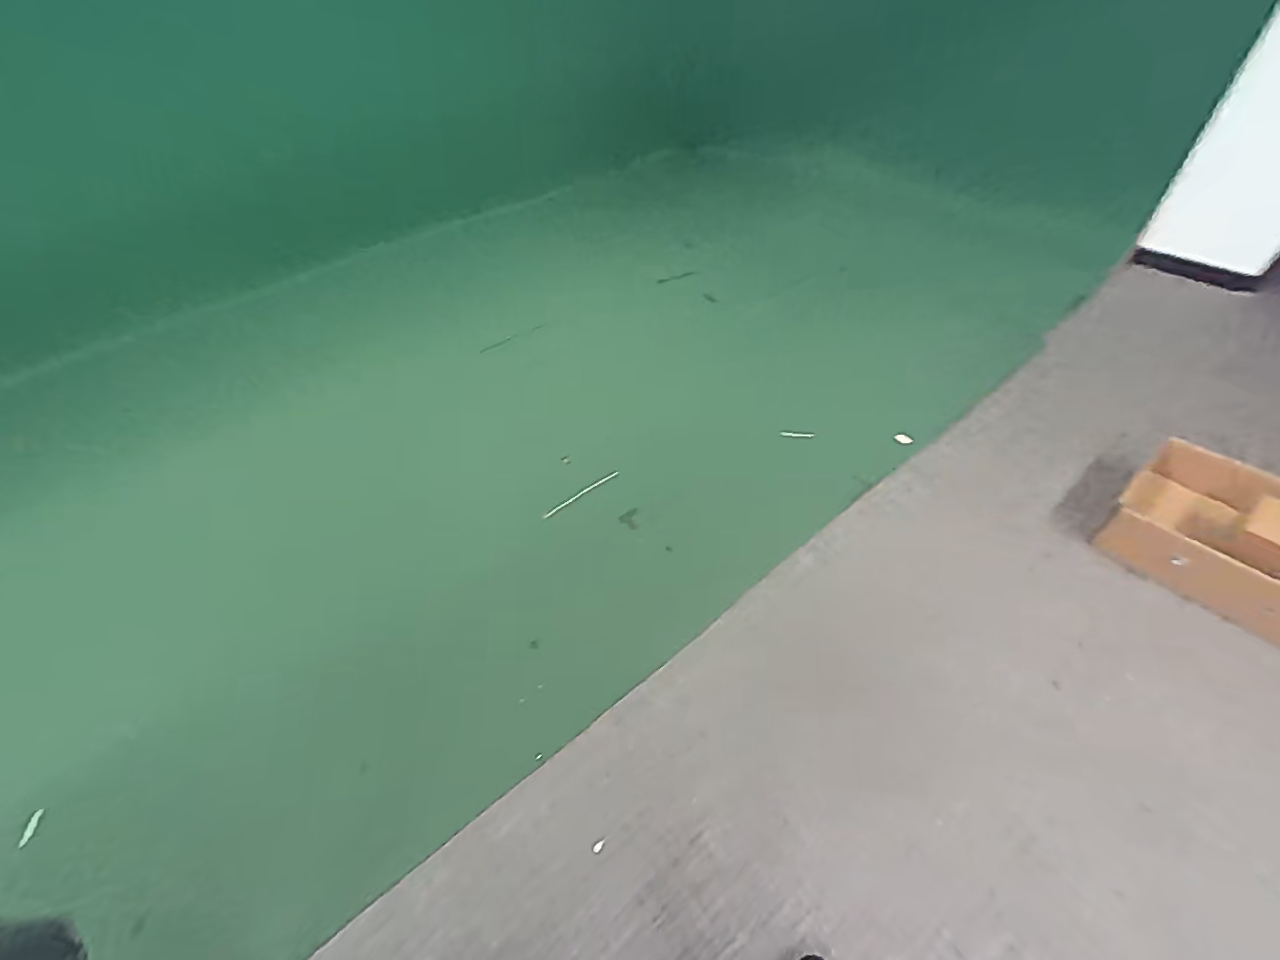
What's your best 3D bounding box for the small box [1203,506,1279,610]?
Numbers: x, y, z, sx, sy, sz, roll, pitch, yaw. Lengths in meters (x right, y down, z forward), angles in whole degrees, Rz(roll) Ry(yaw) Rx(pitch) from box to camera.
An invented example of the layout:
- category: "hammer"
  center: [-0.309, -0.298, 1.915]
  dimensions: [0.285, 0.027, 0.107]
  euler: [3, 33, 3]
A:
- category: "small box"
  center: [1.654, 0.208, 1.421]
  dimensions: [0.179, 0.176, 0.168]
  euler: [-32, 53, -24]
